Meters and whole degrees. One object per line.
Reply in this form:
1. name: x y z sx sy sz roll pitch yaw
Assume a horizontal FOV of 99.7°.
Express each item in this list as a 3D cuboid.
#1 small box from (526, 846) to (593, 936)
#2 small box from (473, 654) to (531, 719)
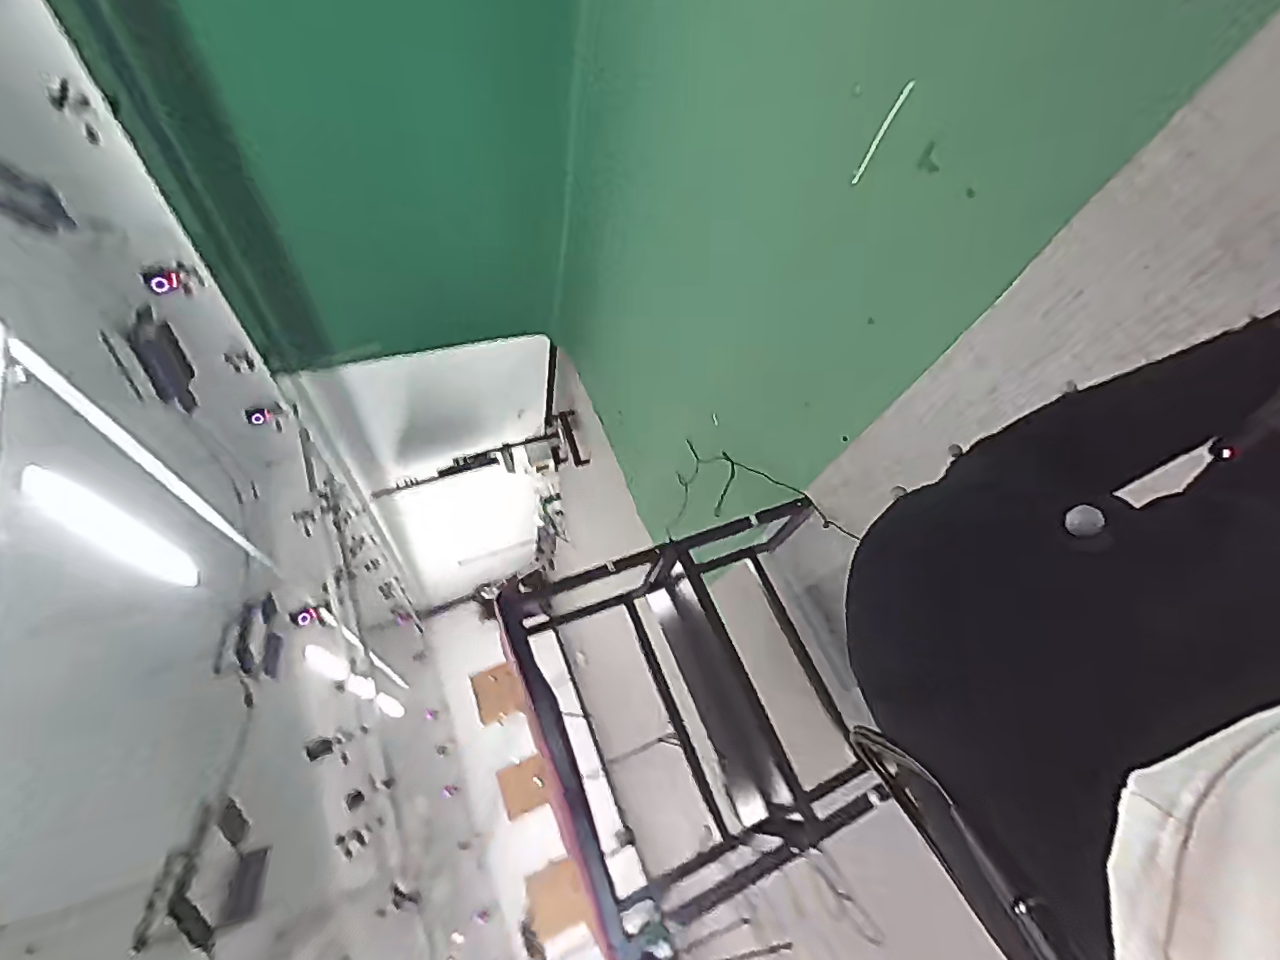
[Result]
1. small box: -0.261 1.307 1.734 0.168 0.176 0.179 105 146 -57
2. small box: -0.510 0.767 2.011 0.179 0.176 0.168 105 145 -58
